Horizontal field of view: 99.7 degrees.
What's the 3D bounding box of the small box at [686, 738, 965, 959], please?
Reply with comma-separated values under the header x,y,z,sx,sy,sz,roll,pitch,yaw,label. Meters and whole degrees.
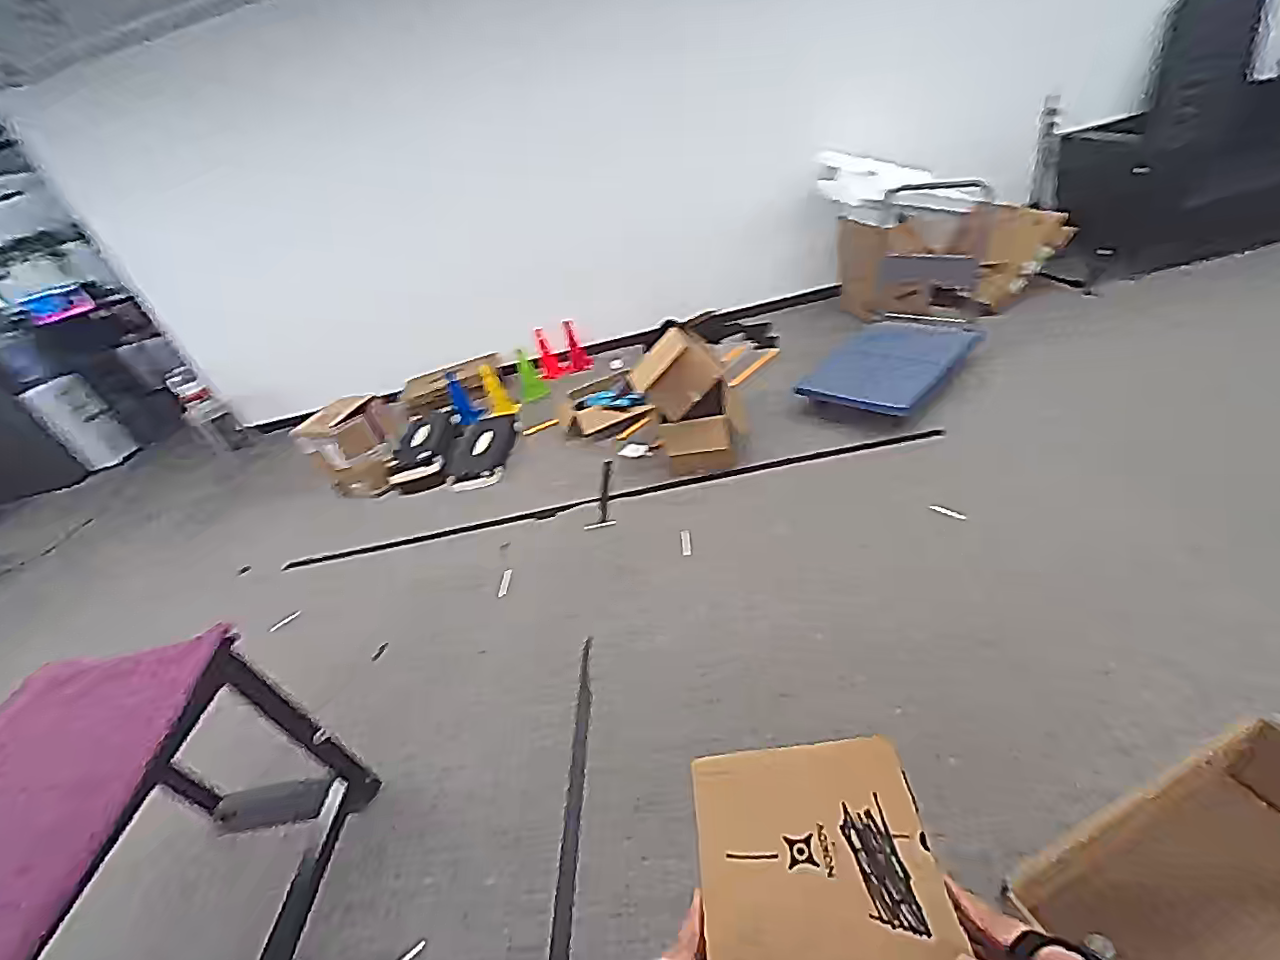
x,y,z,sx,sy,sz,roll,pitch,yaw,label
0.143,0.348,0.458,0.179,0.176,0.168,-12,35,8,small box
